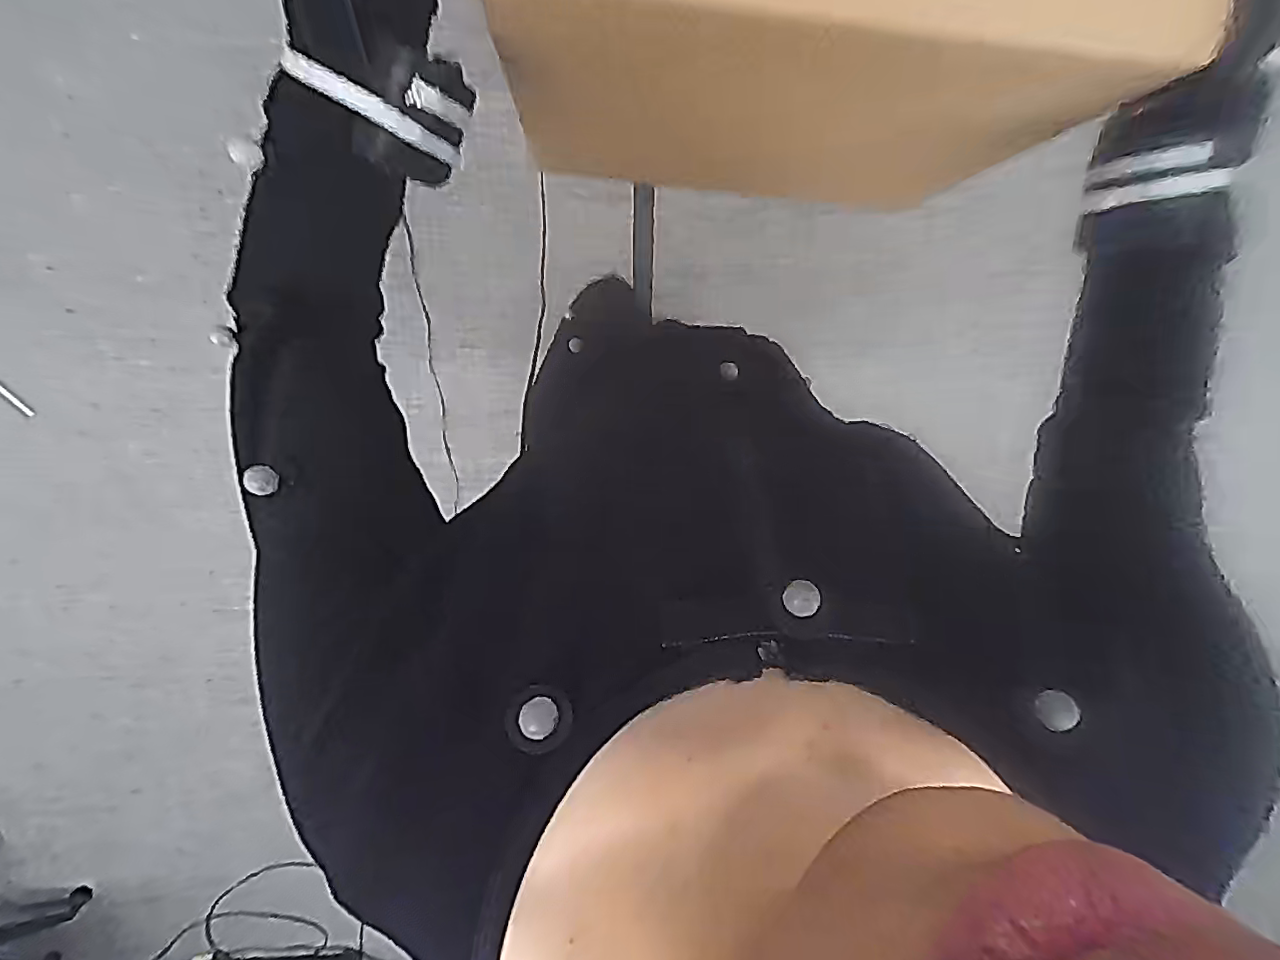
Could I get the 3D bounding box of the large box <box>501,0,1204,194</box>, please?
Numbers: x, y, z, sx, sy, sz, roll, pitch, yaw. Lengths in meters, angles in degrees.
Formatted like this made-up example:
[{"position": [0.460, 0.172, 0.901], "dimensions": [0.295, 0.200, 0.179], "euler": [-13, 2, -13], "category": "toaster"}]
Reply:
[{"position": [0.113, -0.436, 0.402], "dimensions": [0.408, 0.320, 0.320], "euler": [3, 103, -5], "category": "large box"}]
